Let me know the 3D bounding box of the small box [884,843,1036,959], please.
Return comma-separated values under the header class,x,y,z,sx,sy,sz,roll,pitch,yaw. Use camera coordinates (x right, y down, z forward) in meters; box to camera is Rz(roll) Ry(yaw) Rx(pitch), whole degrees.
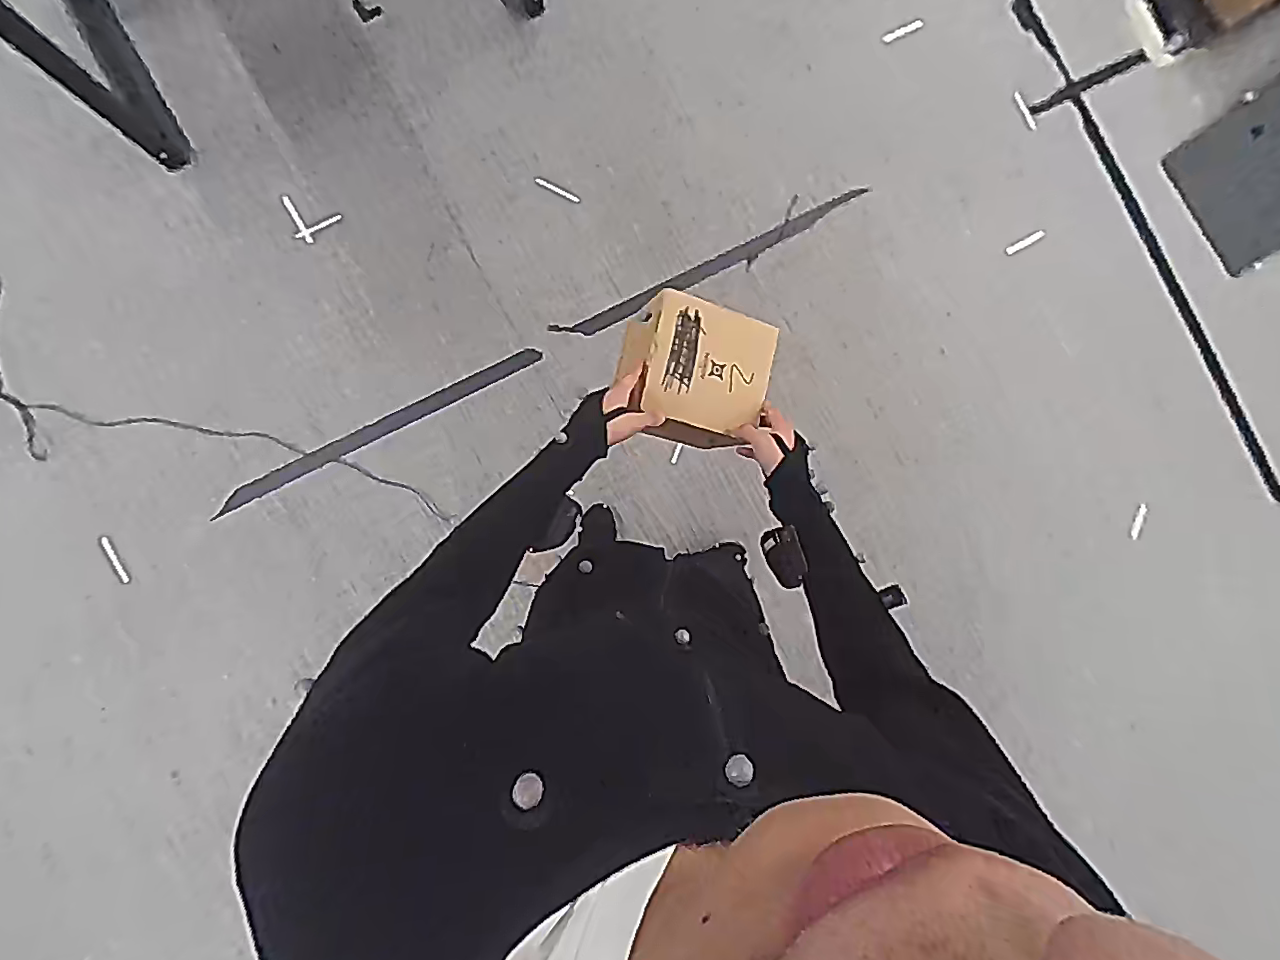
class,x,y,z,sx,sy,sz,roll,pitch,yaw
small box,0.607,0.855,1.033,0.168,0.176,0.179,-25,92,-8
